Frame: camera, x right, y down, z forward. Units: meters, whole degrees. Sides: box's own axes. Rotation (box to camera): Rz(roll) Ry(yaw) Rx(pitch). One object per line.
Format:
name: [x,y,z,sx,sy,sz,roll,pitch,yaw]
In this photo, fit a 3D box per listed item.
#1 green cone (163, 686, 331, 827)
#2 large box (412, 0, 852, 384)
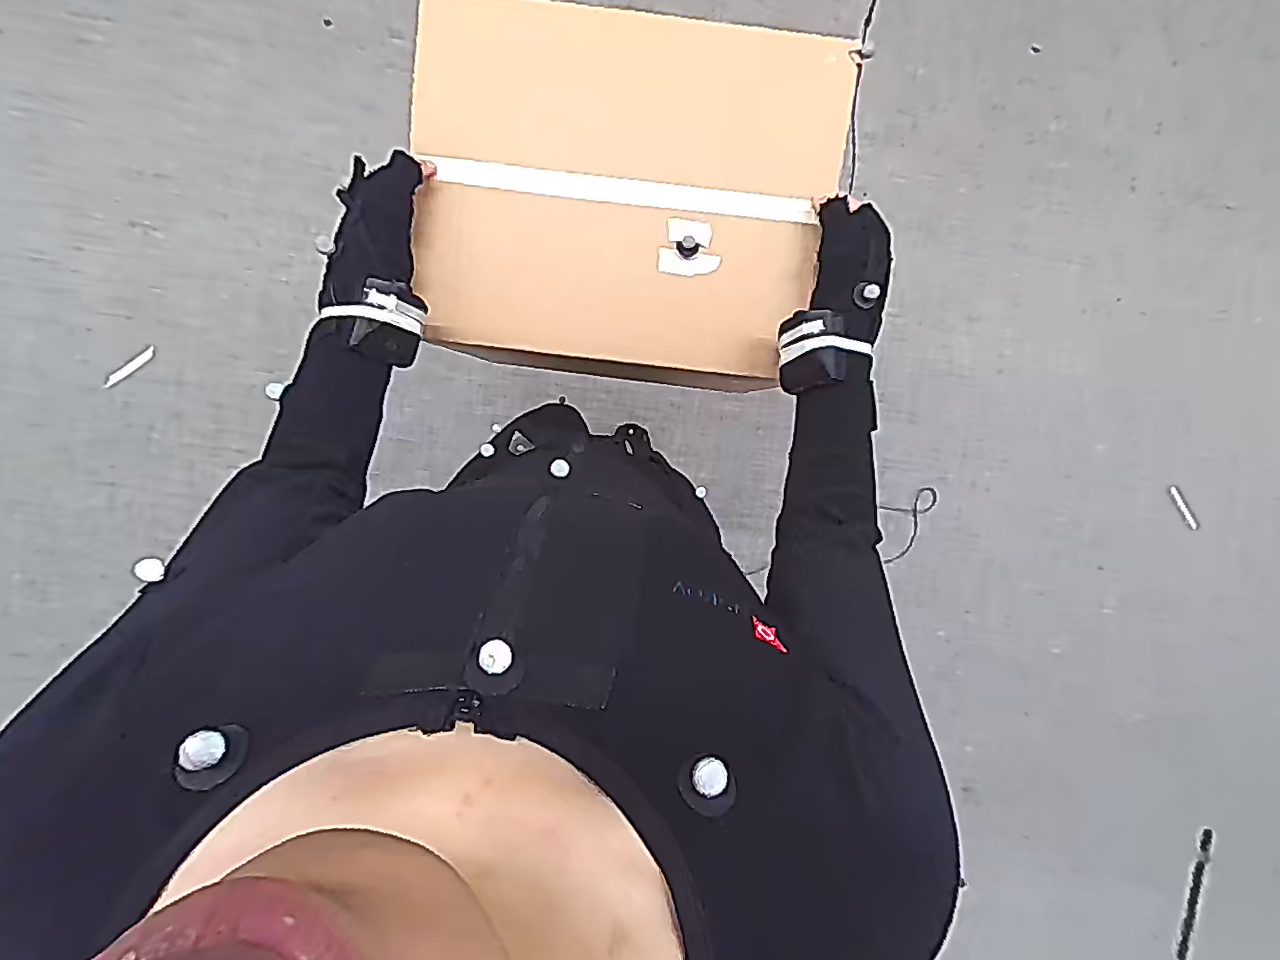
green cone: [-0.960,0.684,1.290,0.202,0.368,0.200,-29,92,1]
large box: [-0.016,-0.300,0.664,0.408,0.320,0.320,6,97,-2]
